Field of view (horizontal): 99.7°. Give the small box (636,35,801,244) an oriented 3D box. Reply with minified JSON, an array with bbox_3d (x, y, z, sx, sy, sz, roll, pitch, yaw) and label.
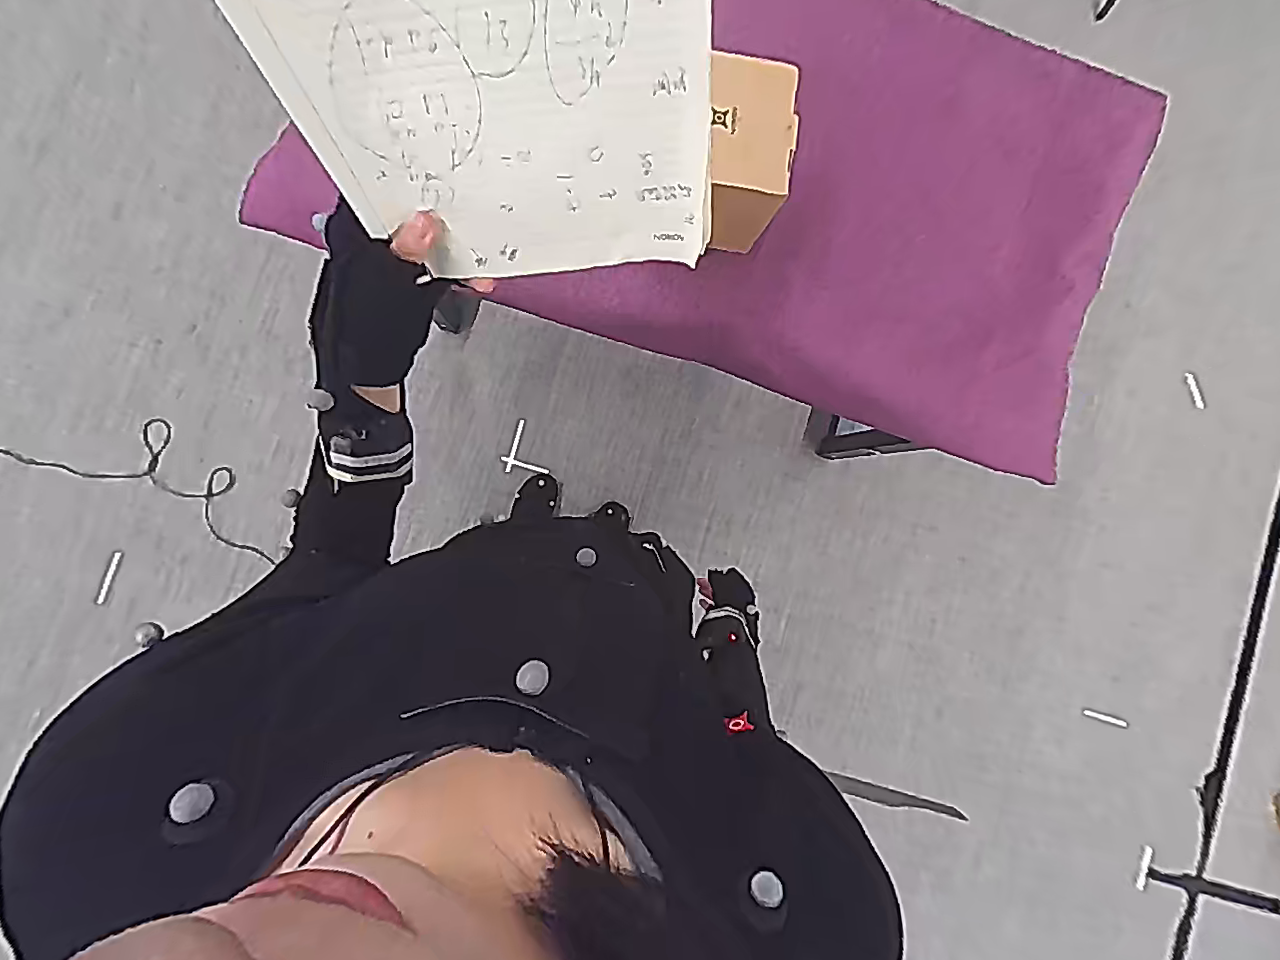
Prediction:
[{"bbox_3d":[0.097,-0.443,0.735,0.179,0.176,0.168,5,88,-7],"label":"small box"}]
